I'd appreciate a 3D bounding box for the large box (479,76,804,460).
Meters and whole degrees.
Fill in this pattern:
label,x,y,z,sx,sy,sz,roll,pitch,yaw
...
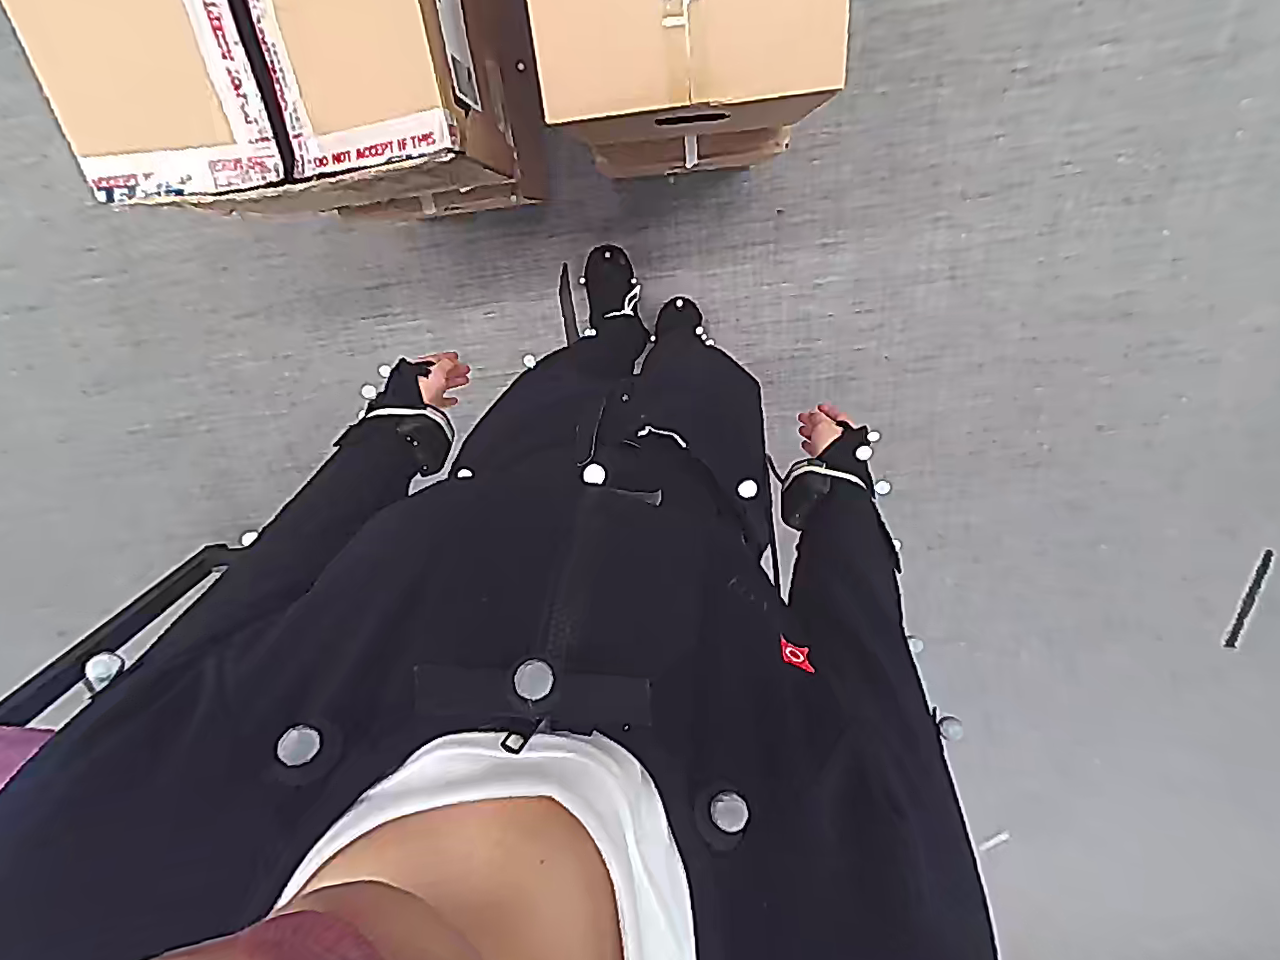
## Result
label,x,y,z,sx,sy,sz,roll,pitch,yaw
large box,0.016,-0.290,0.853,0.320,0.320,0.408,-30,150,15
